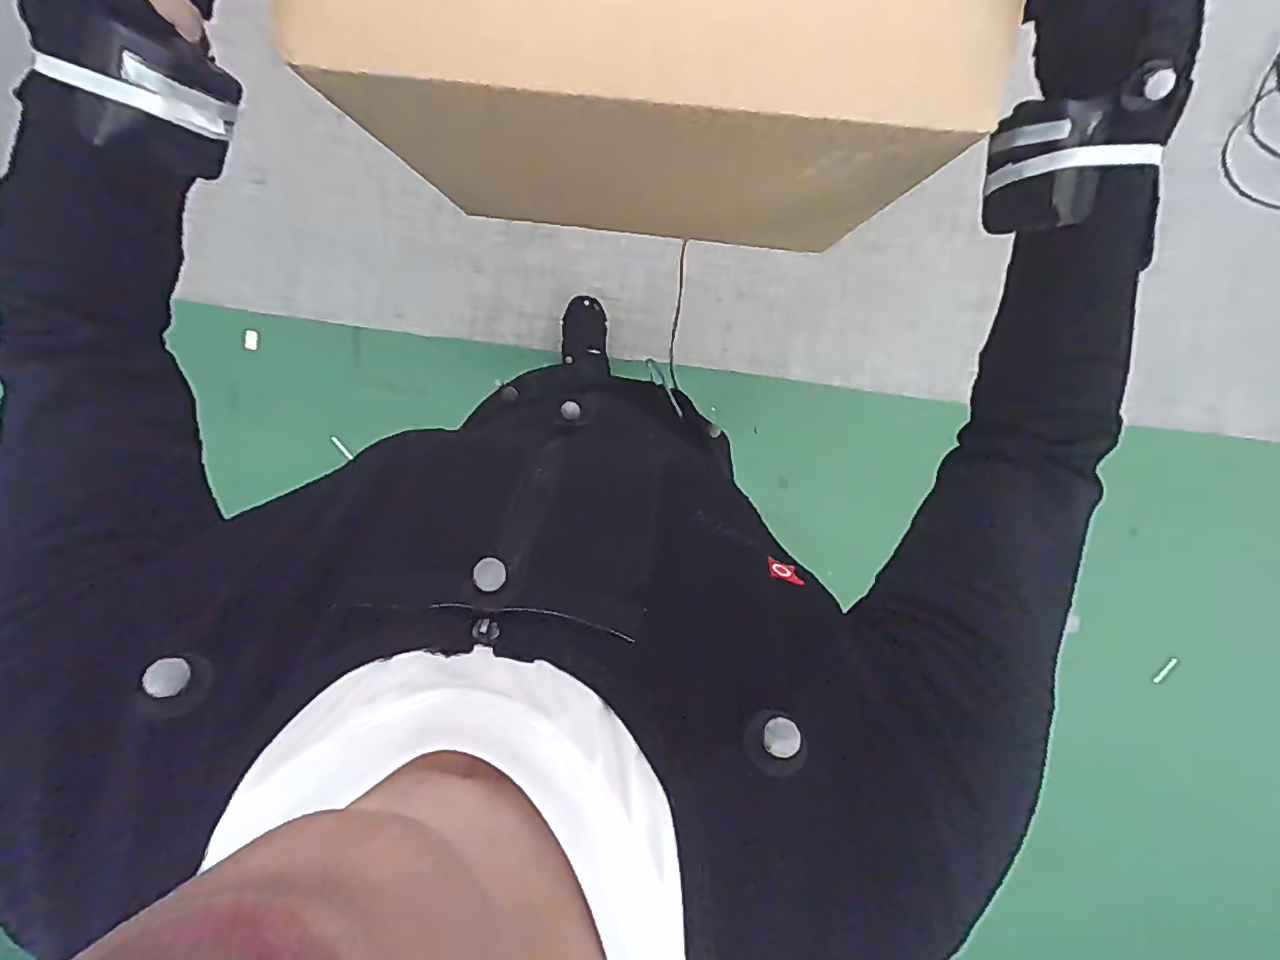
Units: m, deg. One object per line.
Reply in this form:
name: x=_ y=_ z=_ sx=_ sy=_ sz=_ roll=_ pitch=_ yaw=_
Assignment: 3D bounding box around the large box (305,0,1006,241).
large box: x=0.018 y=-0.401 z=0.431 sx=0.408 sy=0.320 sz=0.320 roll=6 pitch=102 yaw=0
